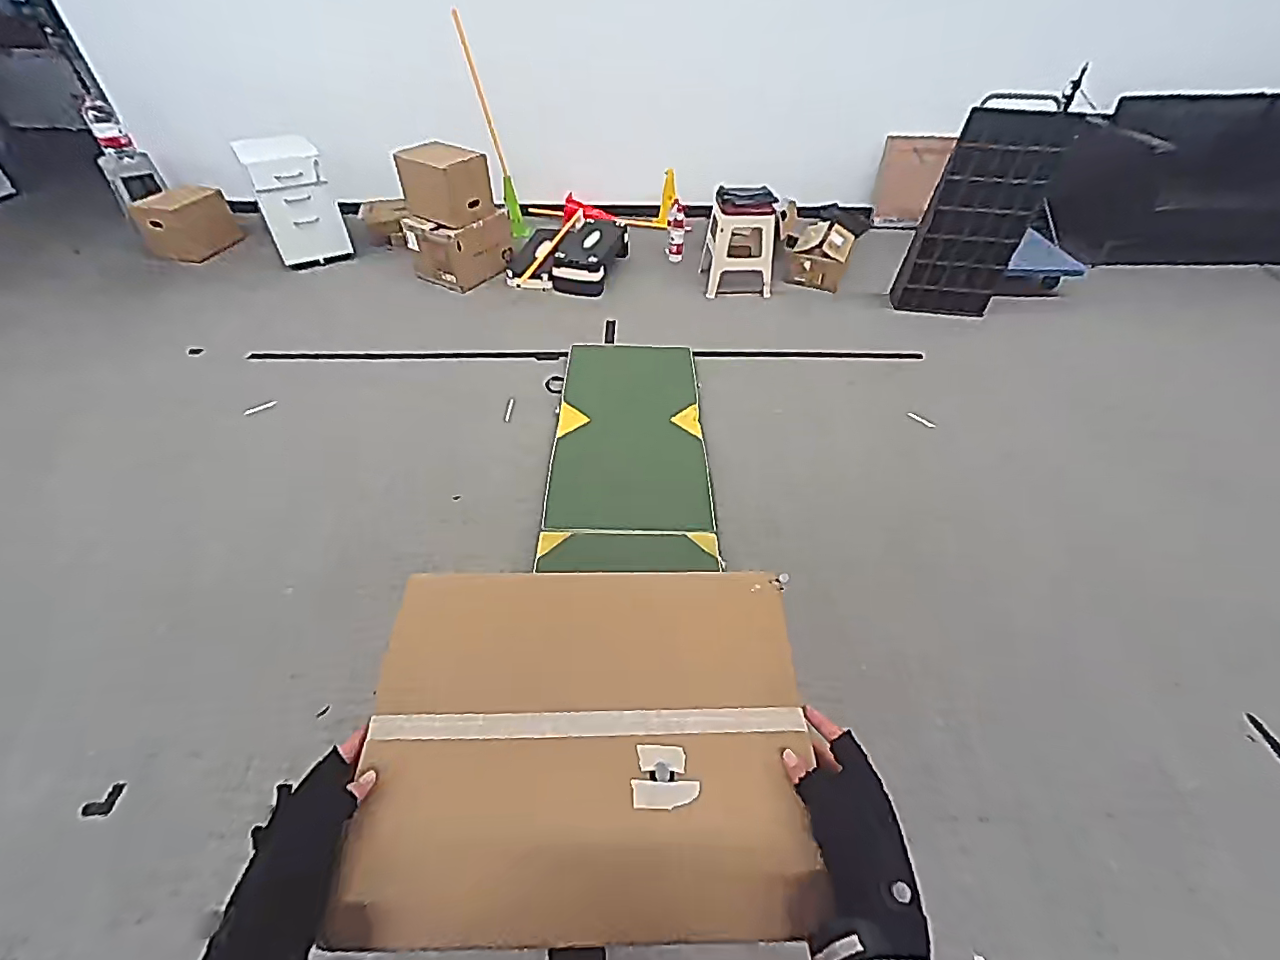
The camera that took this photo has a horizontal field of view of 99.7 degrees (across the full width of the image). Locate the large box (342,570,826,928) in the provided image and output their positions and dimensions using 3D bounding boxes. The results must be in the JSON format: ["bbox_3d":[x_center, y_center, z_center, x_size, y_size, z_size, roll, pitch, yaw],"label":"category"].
[{"bbox_3d":[-0.053,0.319,0.644,0.408,0.320,0.320,0,53,-2],"label":"large box"}]
